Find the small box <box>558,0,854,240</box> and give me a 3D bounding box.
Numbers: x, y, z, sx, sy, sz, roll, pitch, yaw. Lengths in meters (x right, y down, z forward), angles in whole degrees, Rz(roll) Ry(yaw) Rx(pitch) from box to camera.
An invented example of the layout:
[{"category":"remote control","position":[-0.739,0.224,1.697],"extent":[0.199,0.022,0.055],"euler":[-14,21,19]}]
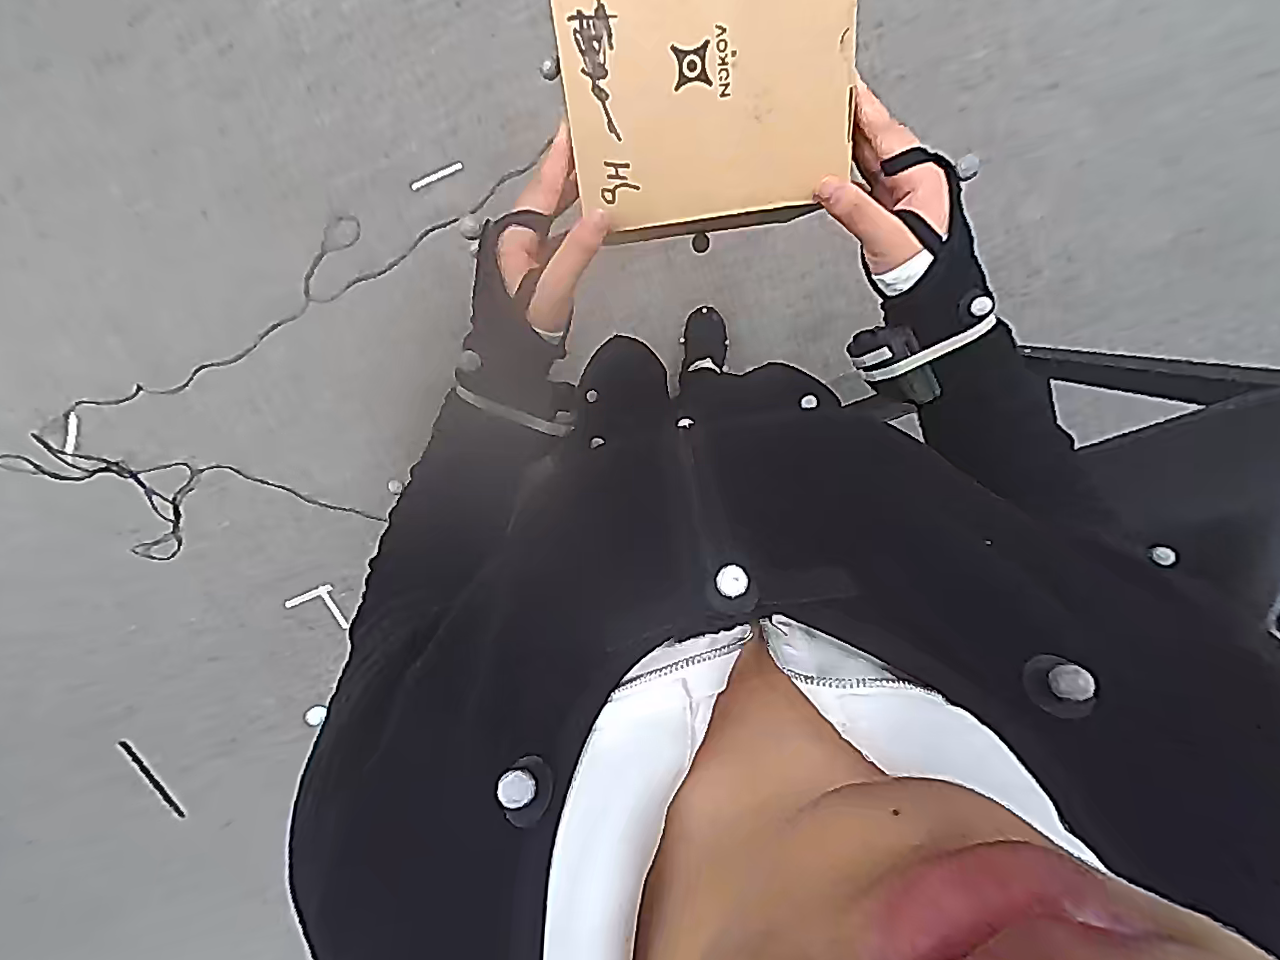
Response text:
[{"category":"small box","position":[0.041,-0.281,0.401],"extent":[0.179,0.176,0.168],"euler":[-7,109,2]}]
